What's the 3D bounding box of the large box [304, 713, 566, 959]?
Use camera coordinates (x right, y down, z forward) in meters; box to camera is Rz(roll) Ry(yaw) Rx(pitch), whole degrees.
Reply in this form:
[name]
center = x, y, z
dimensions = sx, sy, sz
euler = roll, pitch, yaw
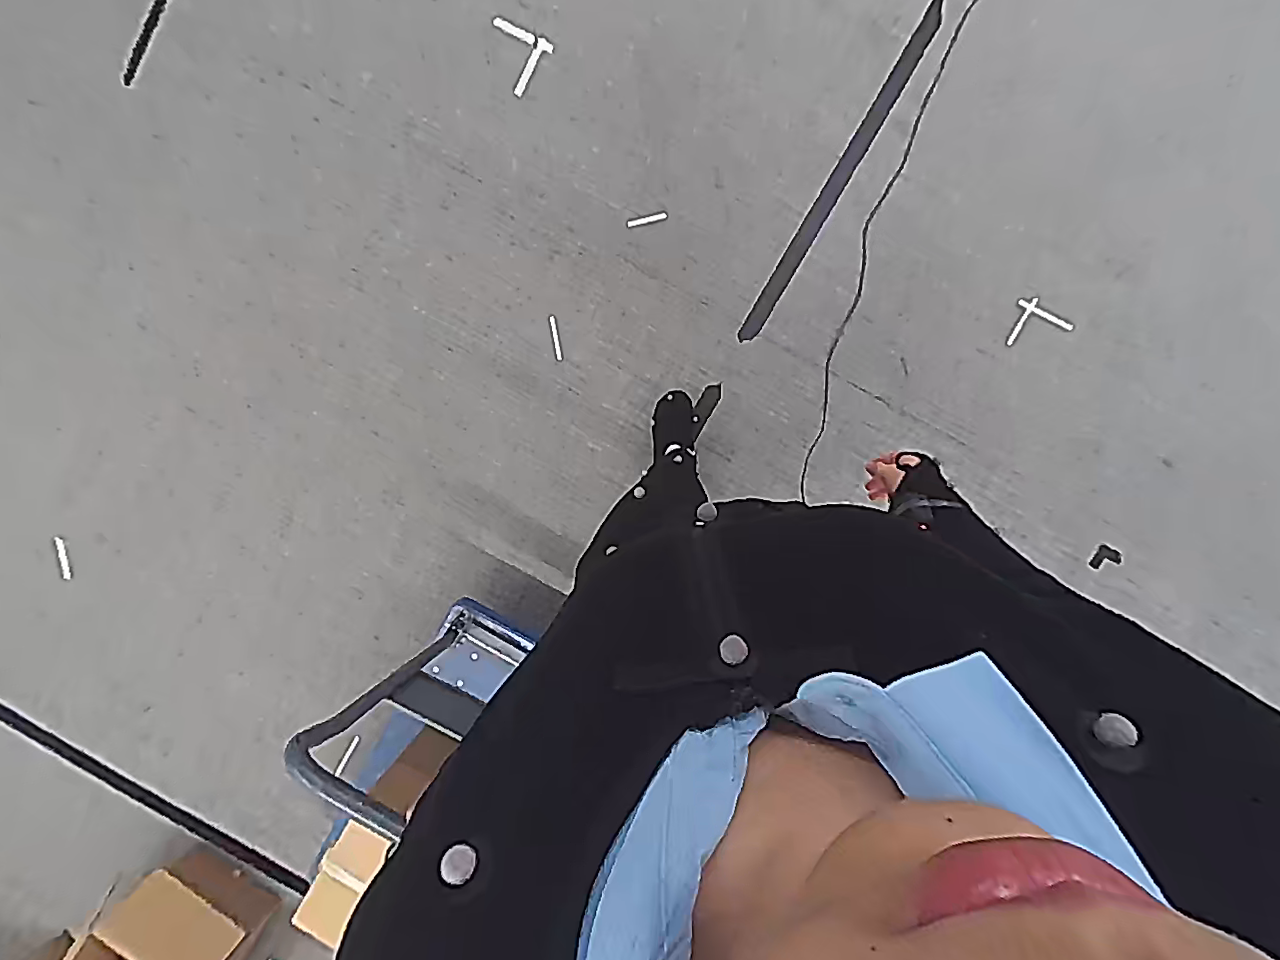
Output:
[large box]
center = -0.435, 0.819, 1.233
dimensions = 0.408, 0.320, 0.320
euler = 31, 95, 0
